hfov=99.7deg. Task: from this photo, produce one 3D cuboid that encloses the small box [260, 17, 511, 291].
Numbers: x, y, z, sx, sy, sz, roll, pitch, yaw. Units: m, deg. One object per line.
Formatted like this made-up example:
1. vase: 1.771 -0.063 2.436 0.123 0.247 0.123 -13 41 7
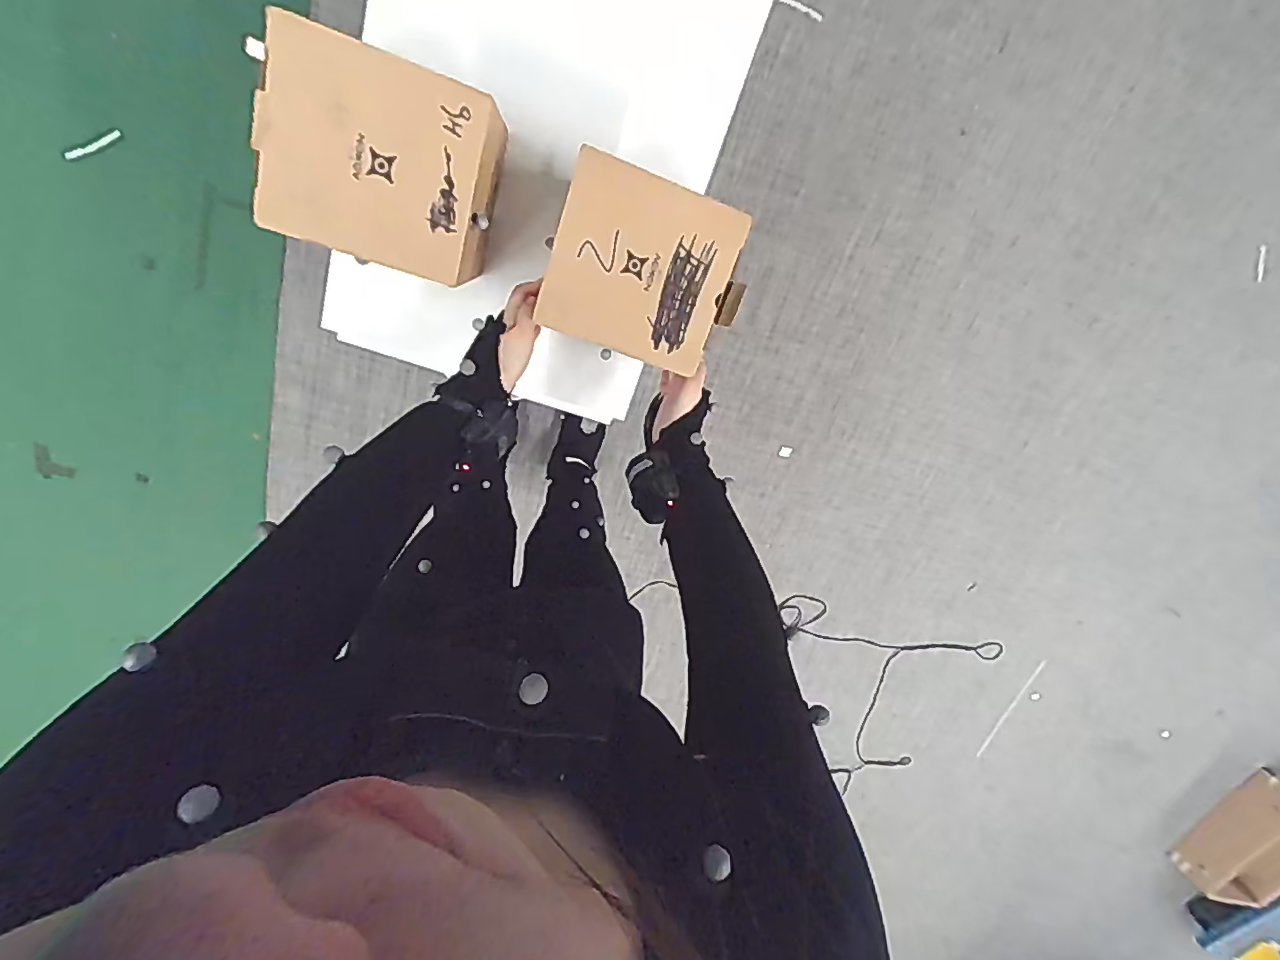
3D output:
1. small box: -0.239 -0.303 0.545 0.179 0.176 0.168 15 111 -14
